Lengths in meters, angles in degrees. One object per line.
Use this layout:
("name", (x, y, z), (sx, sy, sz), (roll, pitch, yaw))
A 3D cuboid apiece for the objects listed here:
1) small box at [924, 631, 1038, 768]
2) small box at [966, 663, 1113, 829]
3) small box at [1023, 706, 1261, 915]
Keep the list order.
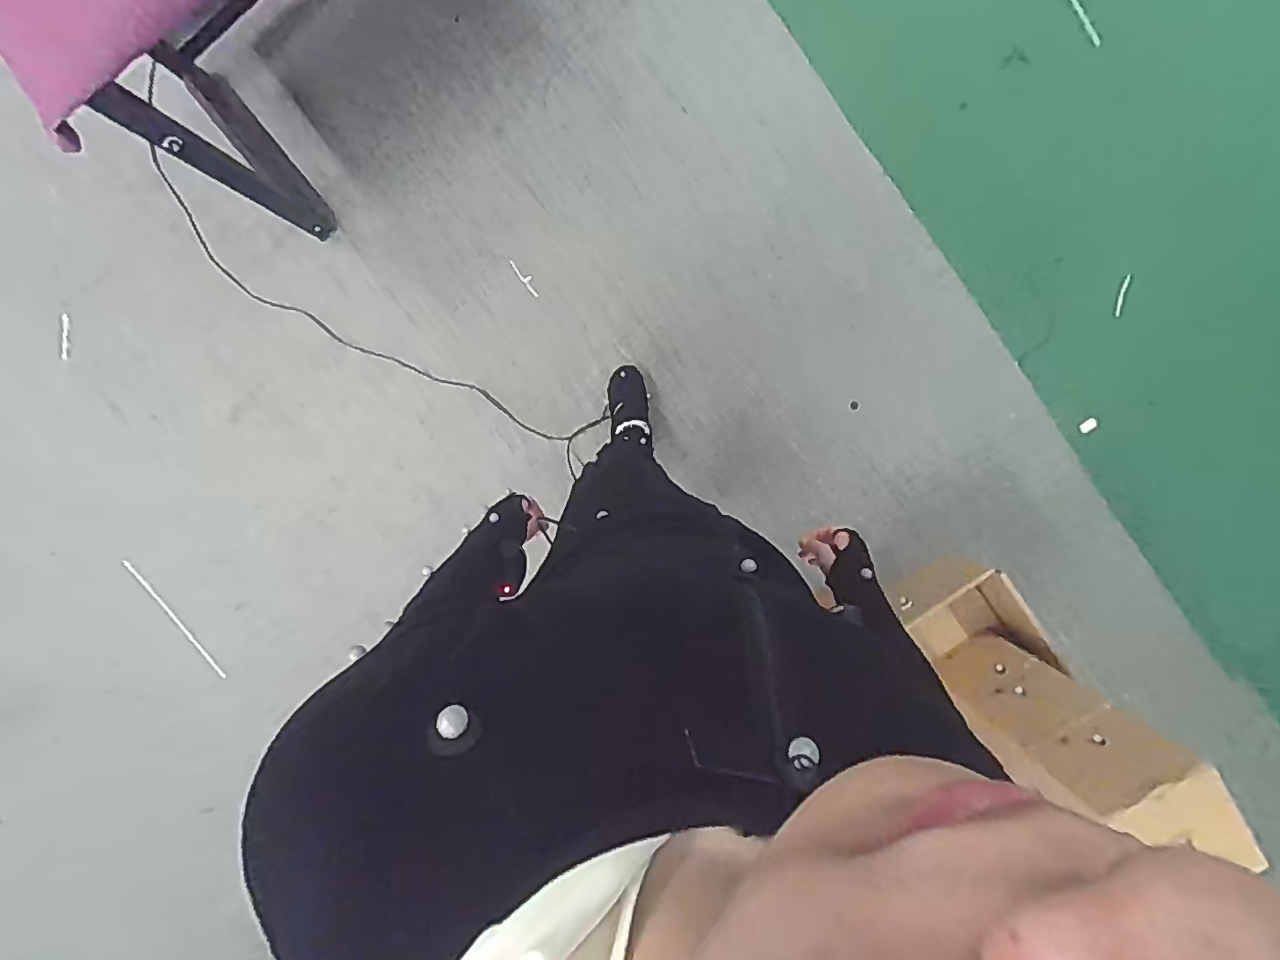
("small box", (0.750, 0.454, 1.146), (0.168, 0.176, 0.179), (-34, 94, 4))
("small box", (0.747, 0.470, 0.983), (0.168, 0.176, 0.179), (-32, 94, 3))
("small box", (0.743, 0.487, 0.822), (0.168, 0.176, 0.179), (-31, 94, 3))
